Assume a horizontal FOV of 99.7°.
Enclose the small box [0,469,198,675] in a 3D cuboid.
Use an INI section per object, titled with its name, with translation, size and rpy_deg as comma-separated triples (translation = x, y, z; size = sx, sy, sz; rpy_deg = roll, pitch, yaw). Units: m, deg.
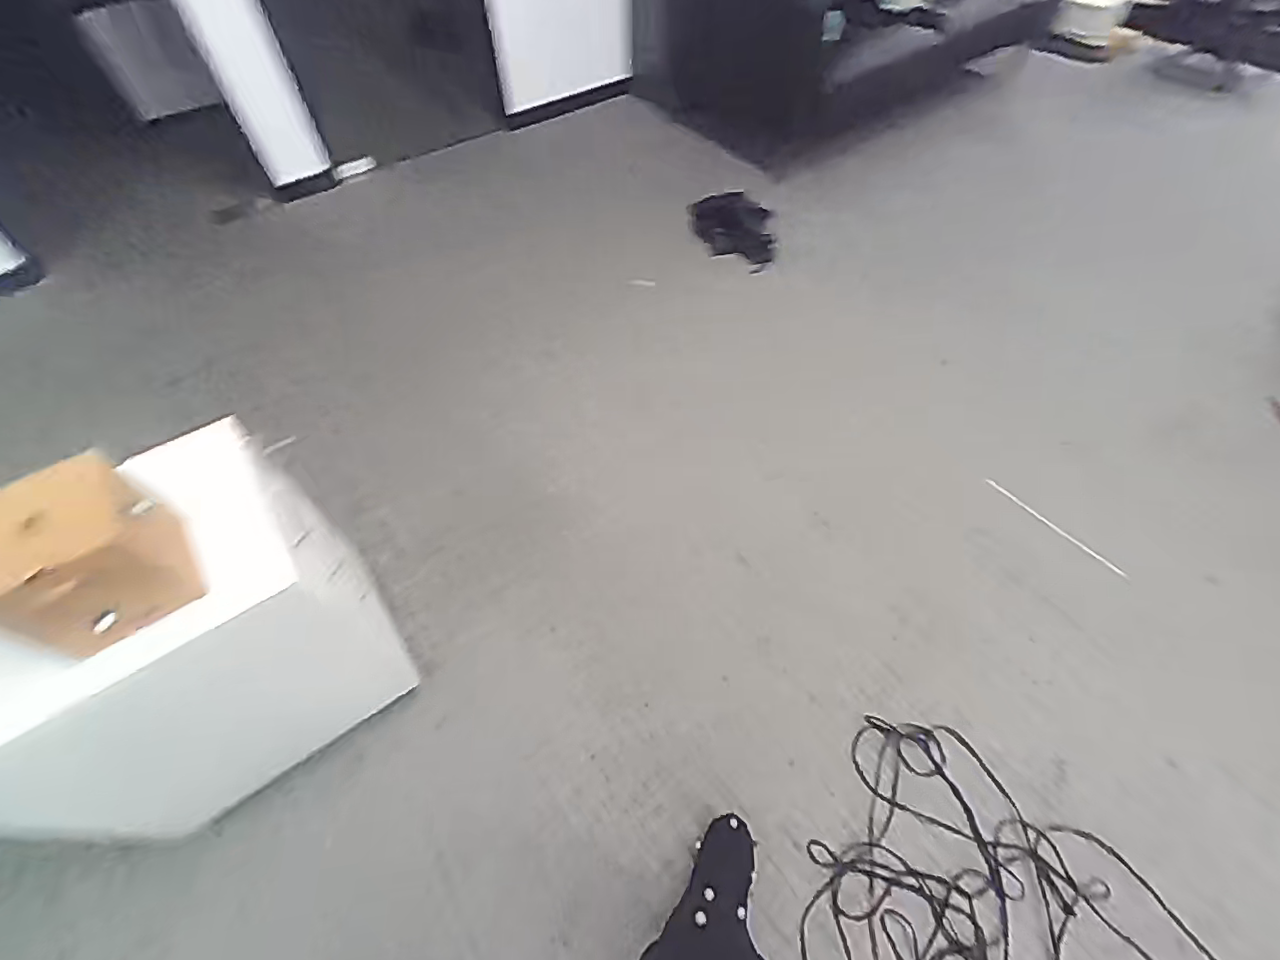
[small box]
translation = -0.742, 0.125, 0.717
size = 0.168, 0.176, 0.179
rpy_deg = -33, 61, -21
